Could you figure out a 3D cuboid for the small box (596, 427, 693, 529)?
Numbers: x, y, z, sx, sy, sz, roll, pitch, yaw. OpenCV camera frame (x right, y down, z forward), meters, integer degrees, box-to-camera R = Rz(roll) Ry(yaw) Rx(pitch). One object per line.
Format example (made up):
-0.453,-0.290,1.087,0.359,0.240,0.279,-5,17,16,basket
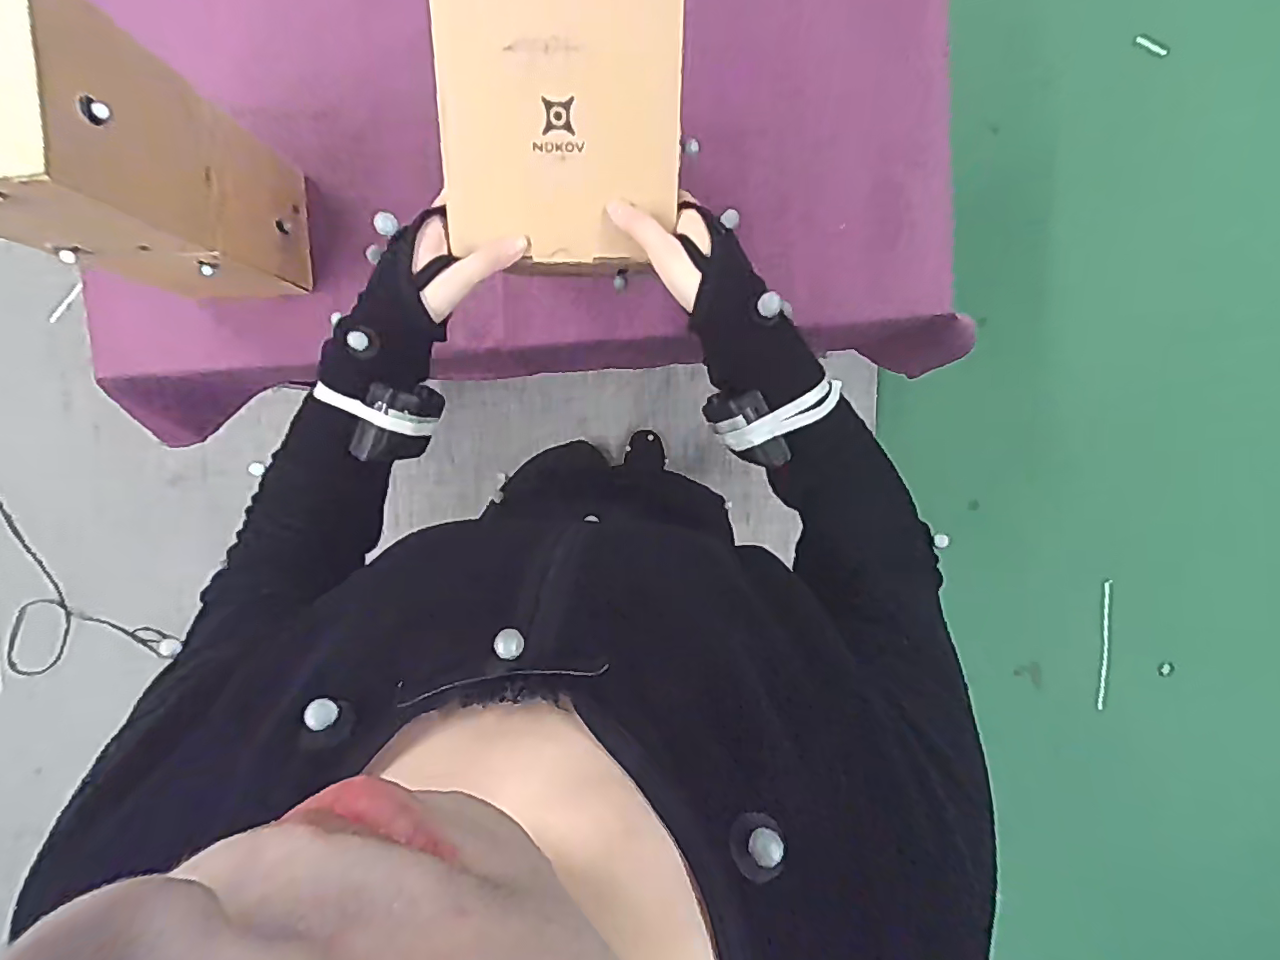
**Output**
0.004,-0.005,1.409,0.179,0.176,0.168,-27,64,-29,small box

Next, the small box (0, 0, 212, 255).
-0.552,-0.327,0.514,0.168,0.176,0.179,-3,93,1,small box

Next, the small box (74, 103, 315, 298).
-0.547,-0.334,0.679,0.179,0.176,0.168,-2,94,1,small box

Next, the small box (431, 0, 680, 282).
-0.053,-0.262,0.450,0.168,0.176,0.179,3,107,3,small box
